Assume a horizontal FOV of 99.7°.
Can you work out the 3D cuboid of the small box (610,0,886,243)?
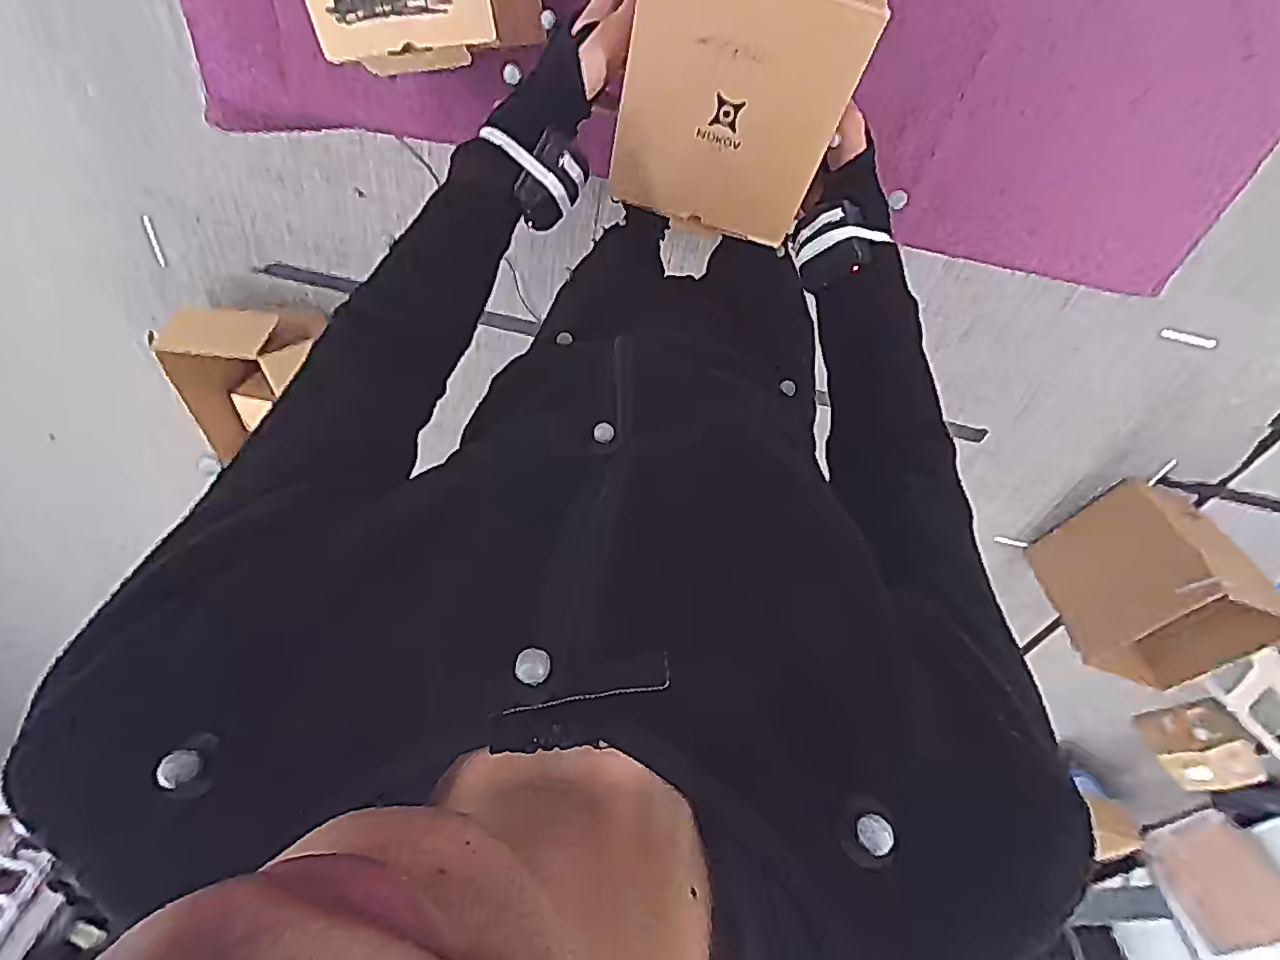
[{"bbox_3d":[0.084,-0.346,0.460,0.168,0.176,0.179,16,144,-4],"label":"small box"}]
